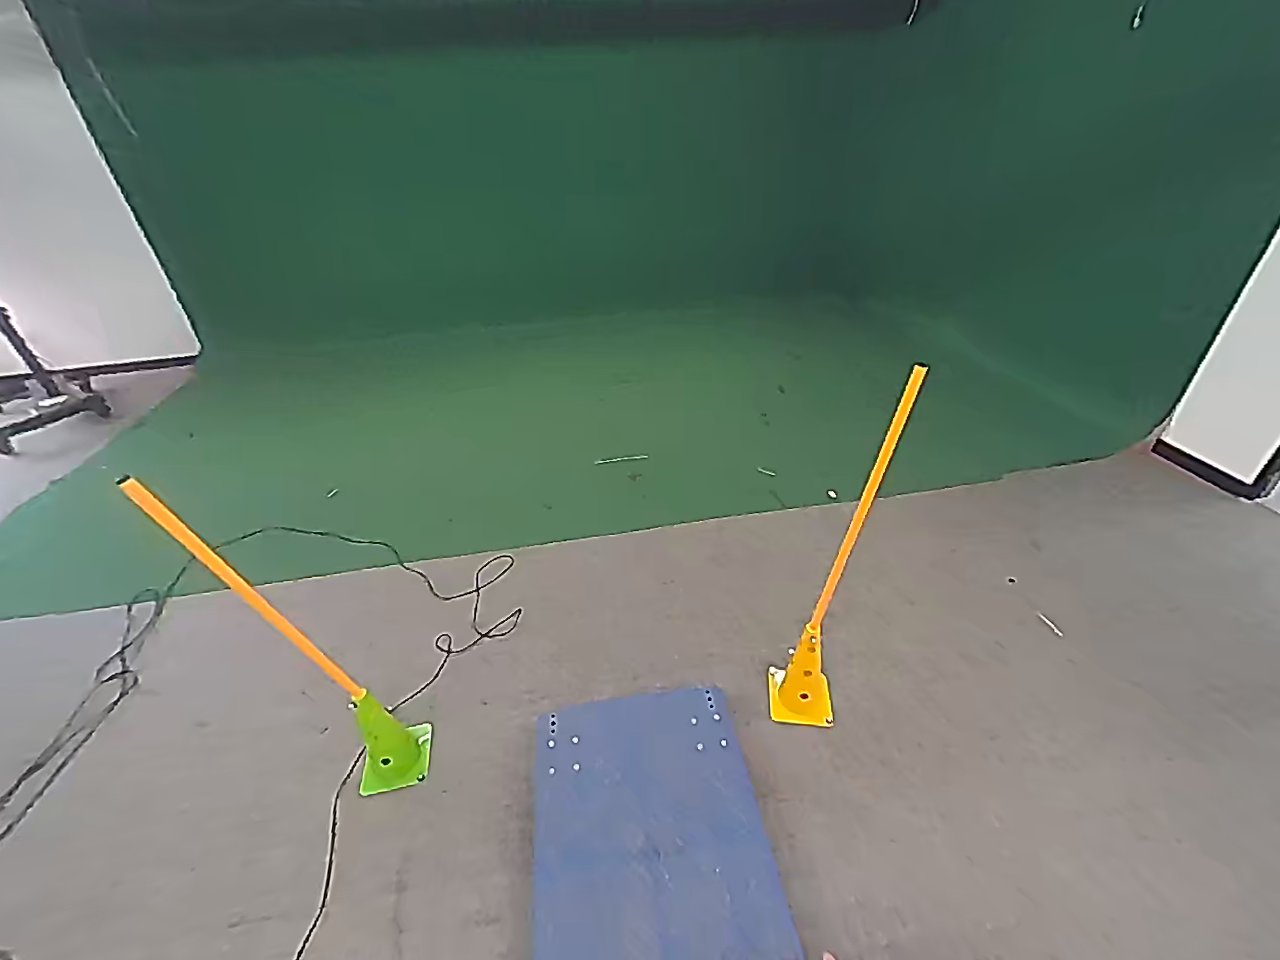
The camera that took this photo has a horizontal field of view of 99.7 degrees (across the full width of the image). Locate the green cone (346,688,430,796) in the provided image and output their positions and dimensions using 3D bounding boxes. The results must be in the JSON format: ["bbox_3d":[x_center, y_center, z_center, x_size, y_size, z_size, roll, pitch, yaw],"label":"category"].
[{"bbox_3d":[-0.790,0.745,1.626,0.202,0.368,0.200,-11,35,-8],"label":"green cone"}]
